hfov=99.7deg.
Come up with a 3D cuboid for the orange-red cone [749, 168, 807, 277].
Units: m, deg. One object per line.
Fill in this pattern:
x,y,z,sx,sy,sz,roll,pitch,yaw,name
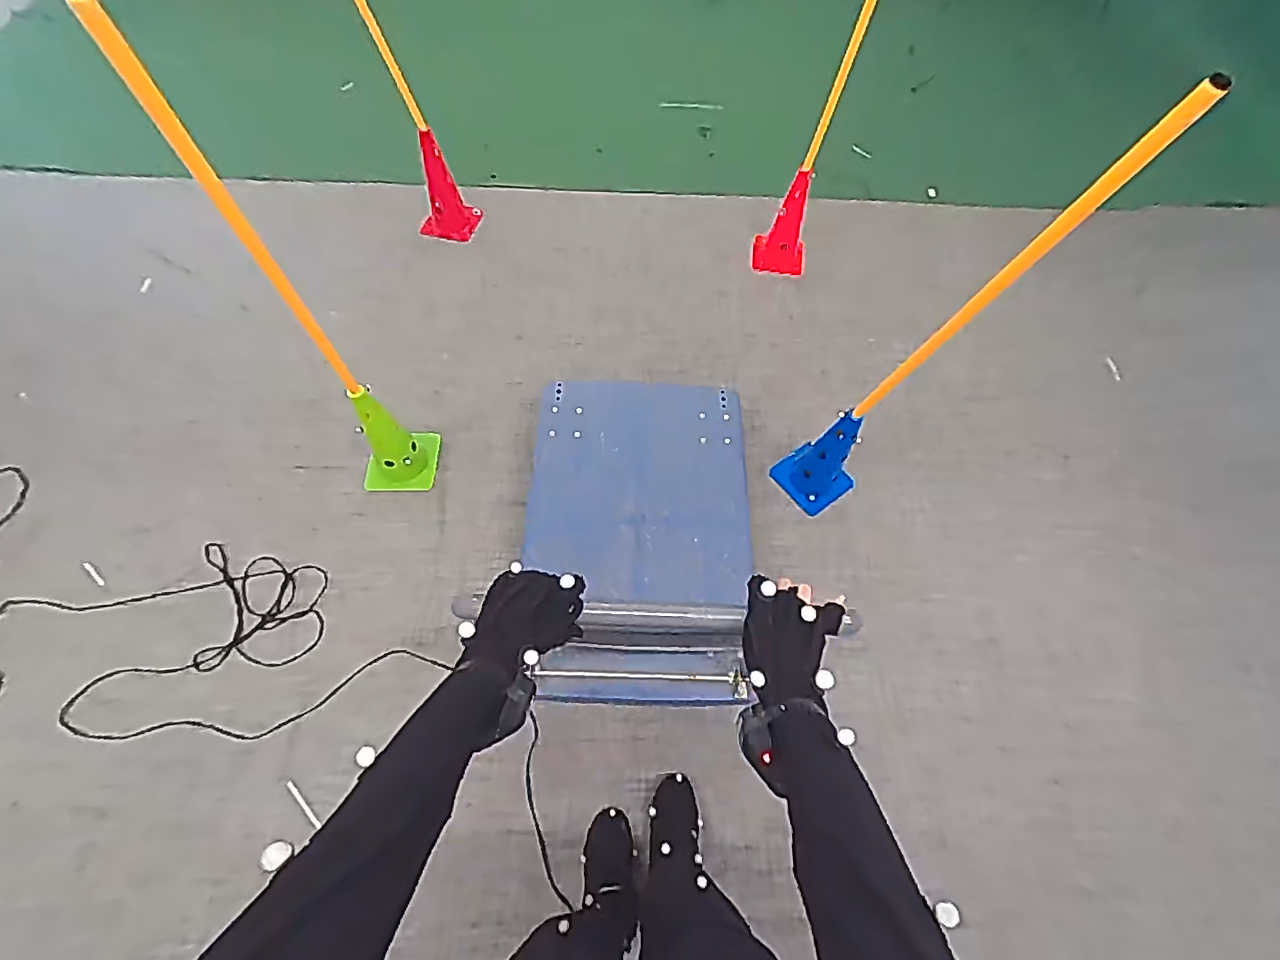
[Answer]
0.540,-0.955,1.972,0.198,0.360,0.199,11,63,3,orange-red cone
